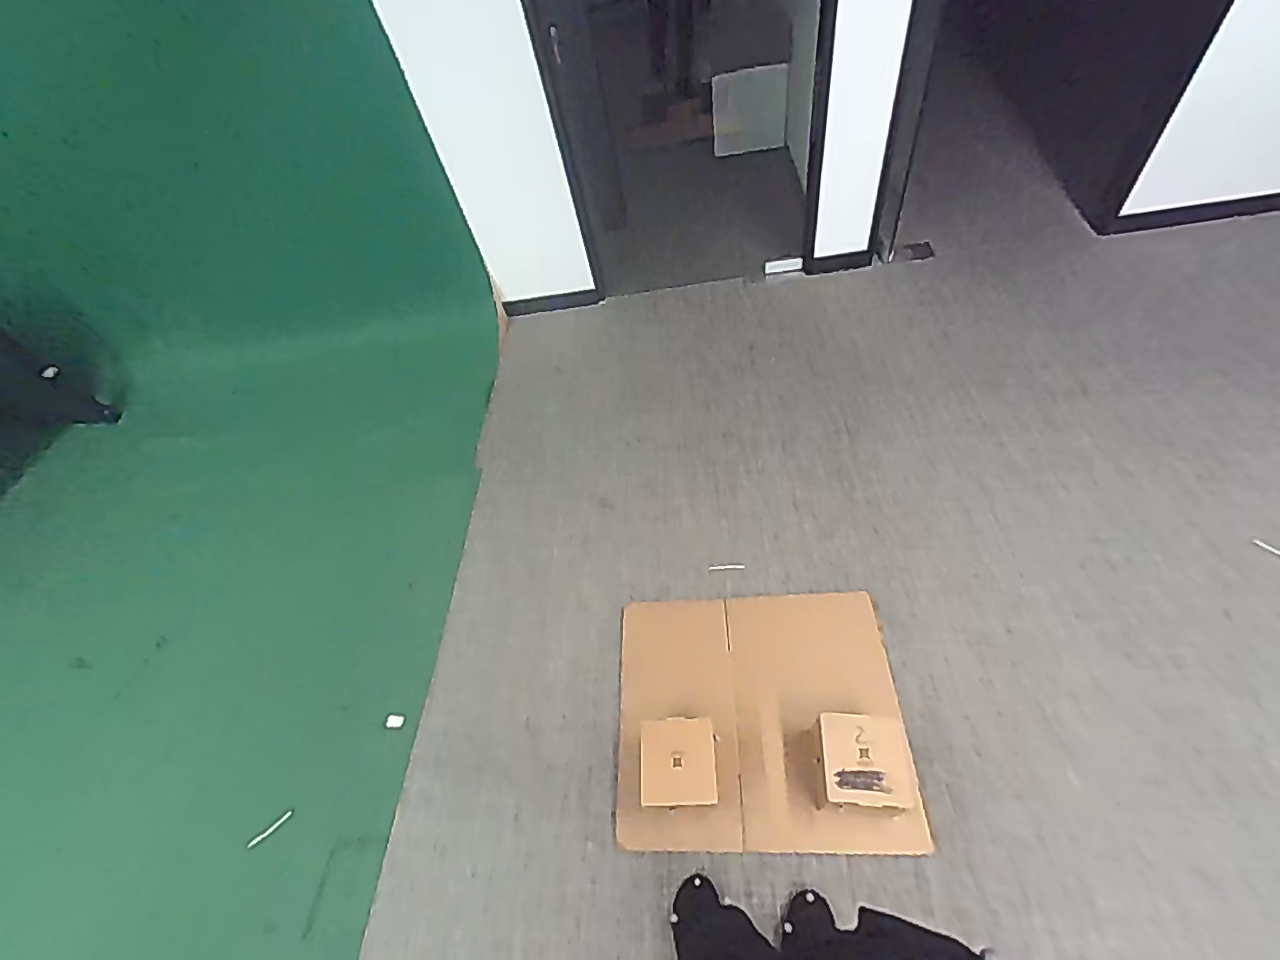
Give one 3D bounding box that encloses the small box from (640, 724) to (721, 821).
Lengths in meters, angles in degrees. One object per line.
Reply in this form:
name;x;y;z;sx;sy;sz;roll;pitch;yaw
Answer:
small box;0.094;0.674;1.238;0.168;0.176;0.179;-6;51;7
